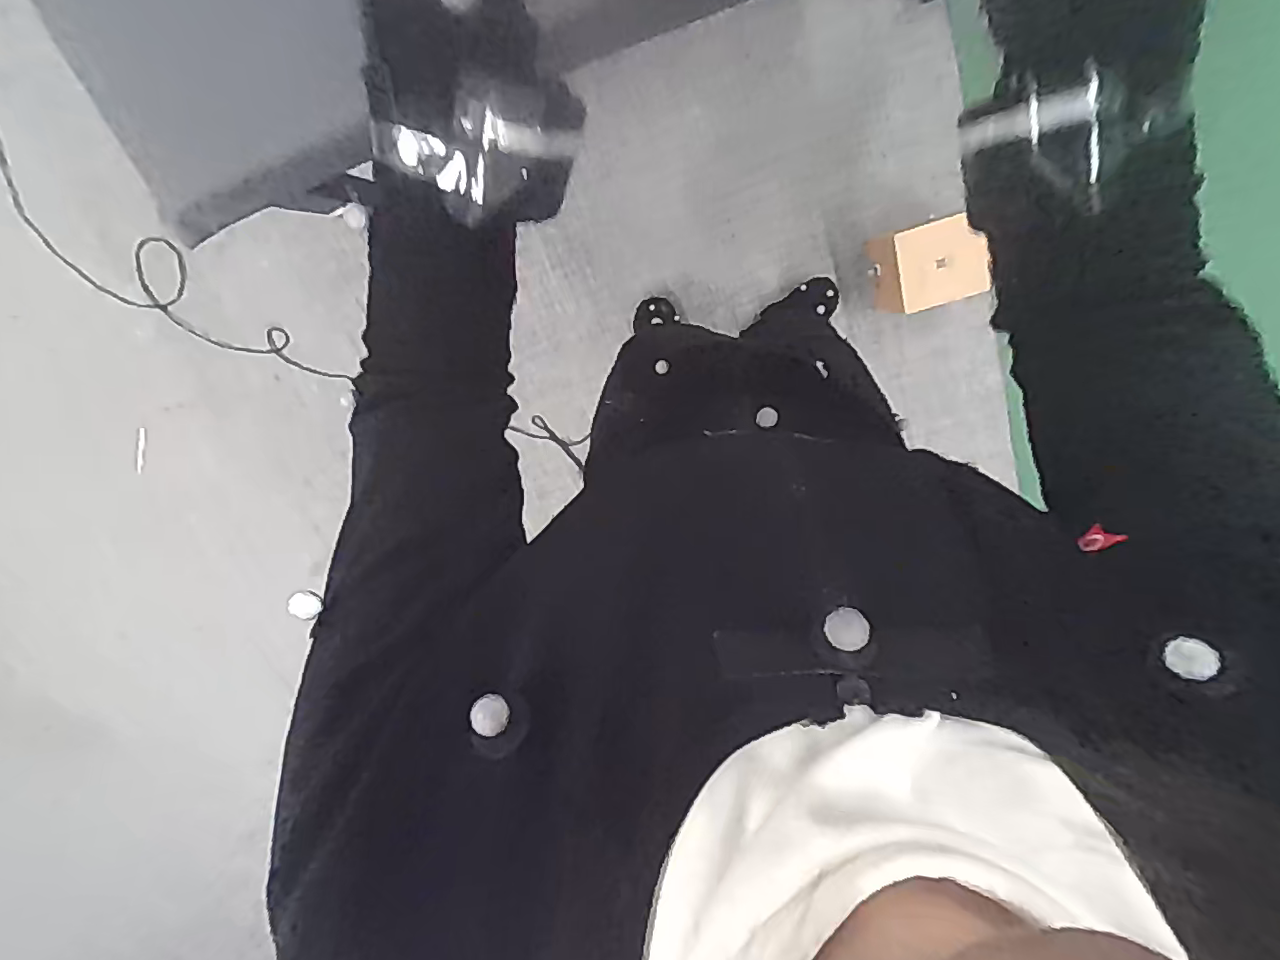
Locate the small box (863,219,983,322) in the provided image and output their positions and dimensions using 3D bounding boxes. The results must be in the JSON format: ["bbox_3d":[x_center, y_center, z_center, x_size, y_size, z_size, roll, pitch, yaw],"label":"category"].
[{"bbox_3d":[0.614,-0.457,1.188,0.179,0.176,0.168,-15,108,9],"label":"small box"}]
